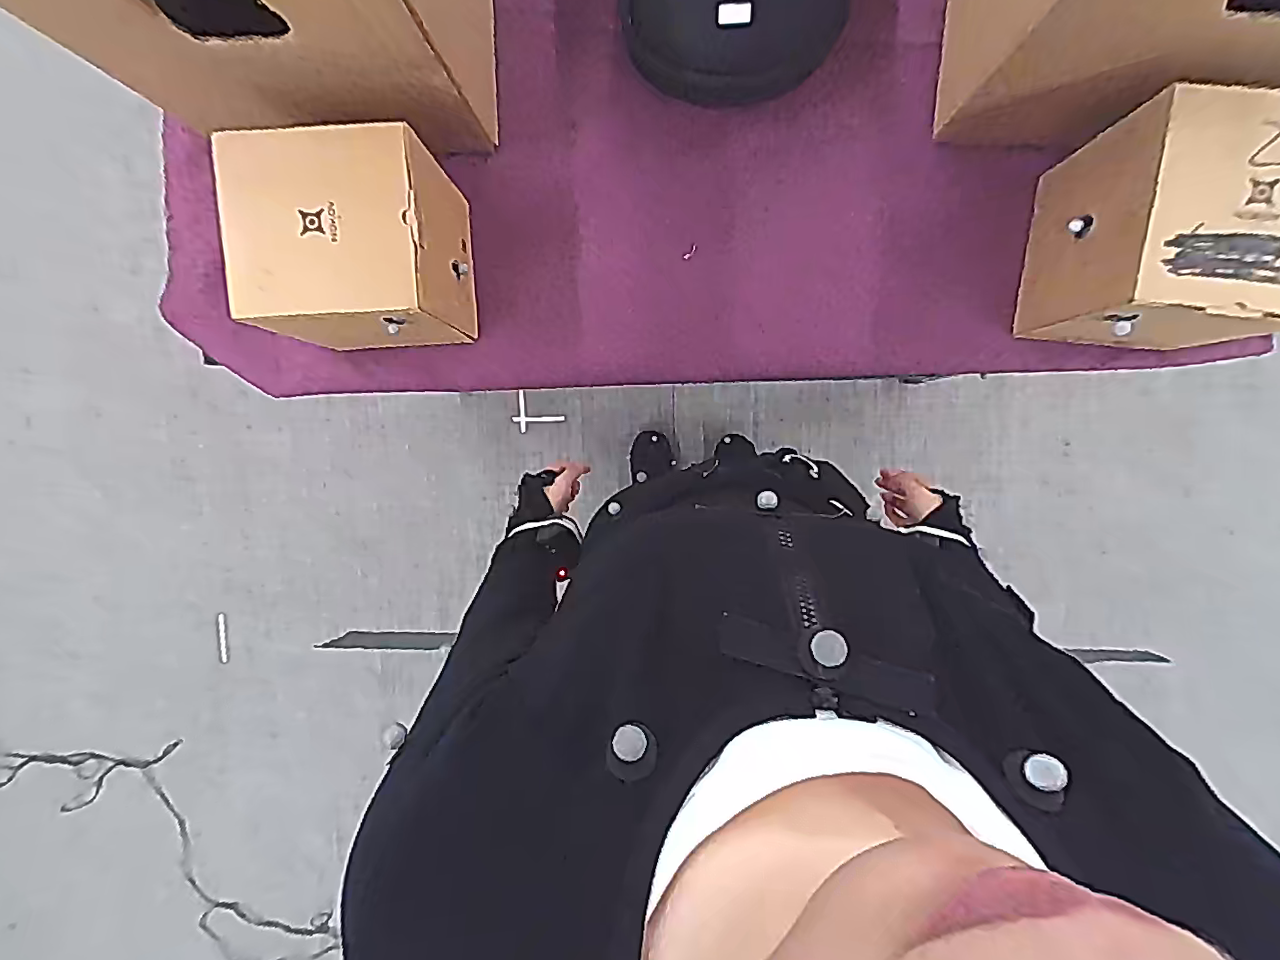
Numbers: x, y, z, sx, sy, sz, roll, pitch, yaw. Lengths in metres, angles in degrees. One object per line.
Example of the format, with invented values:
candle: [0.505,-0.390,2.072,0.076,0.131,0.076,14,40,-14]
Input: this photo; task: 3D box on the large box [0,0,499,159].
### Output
large box: [-0.326,-0.565,0.474,0.320,0.320,0.408,-1,98,2]
